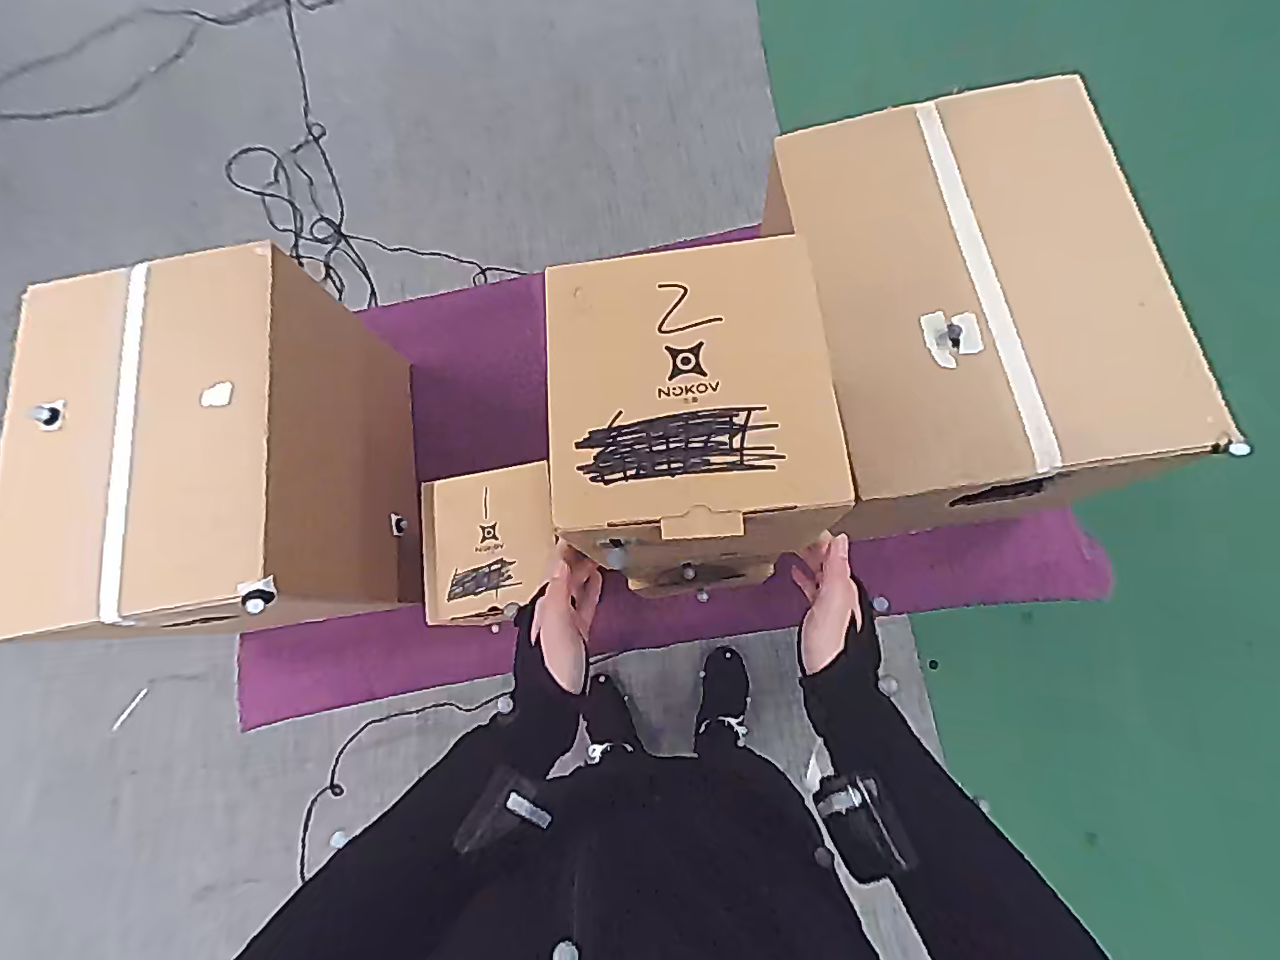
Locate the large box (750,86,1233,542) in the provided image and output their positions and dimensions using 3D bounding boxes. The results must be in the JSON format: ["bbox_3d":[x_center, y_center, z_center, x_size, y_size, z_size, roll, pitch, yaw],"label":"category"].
[{"bbox_3d":[0.337,-0.159,0.657,0.320,0.320,0.408,-9,76,5],"label":"large box"}]
